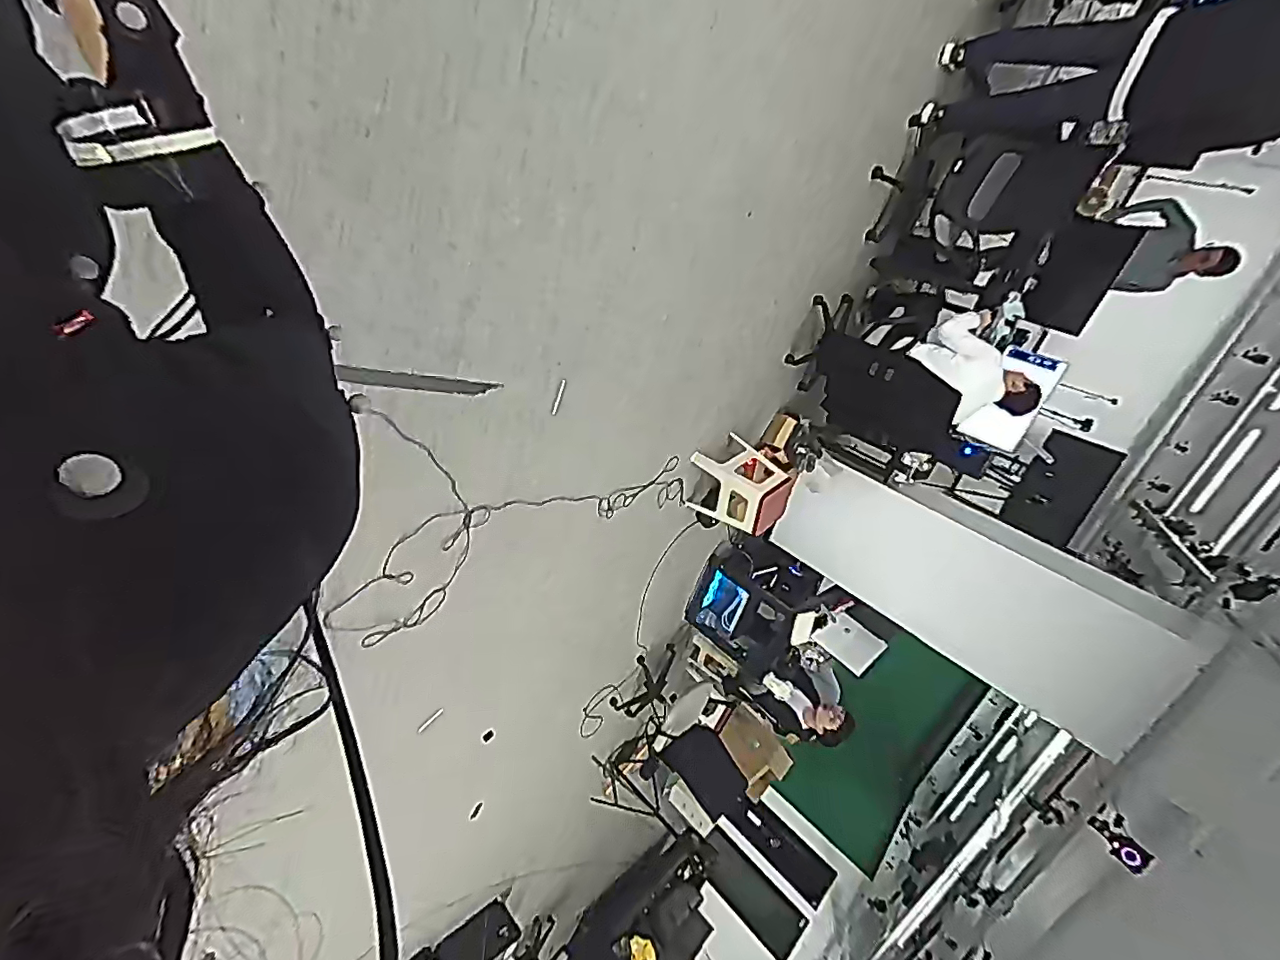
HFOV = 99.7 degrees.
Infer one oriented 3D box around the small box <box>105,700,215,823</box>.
[{"bbox_3d":[-1.186,0.684,1.333,0.179,0.176,0.168,-3,121,-52],"label":"small box"}]
